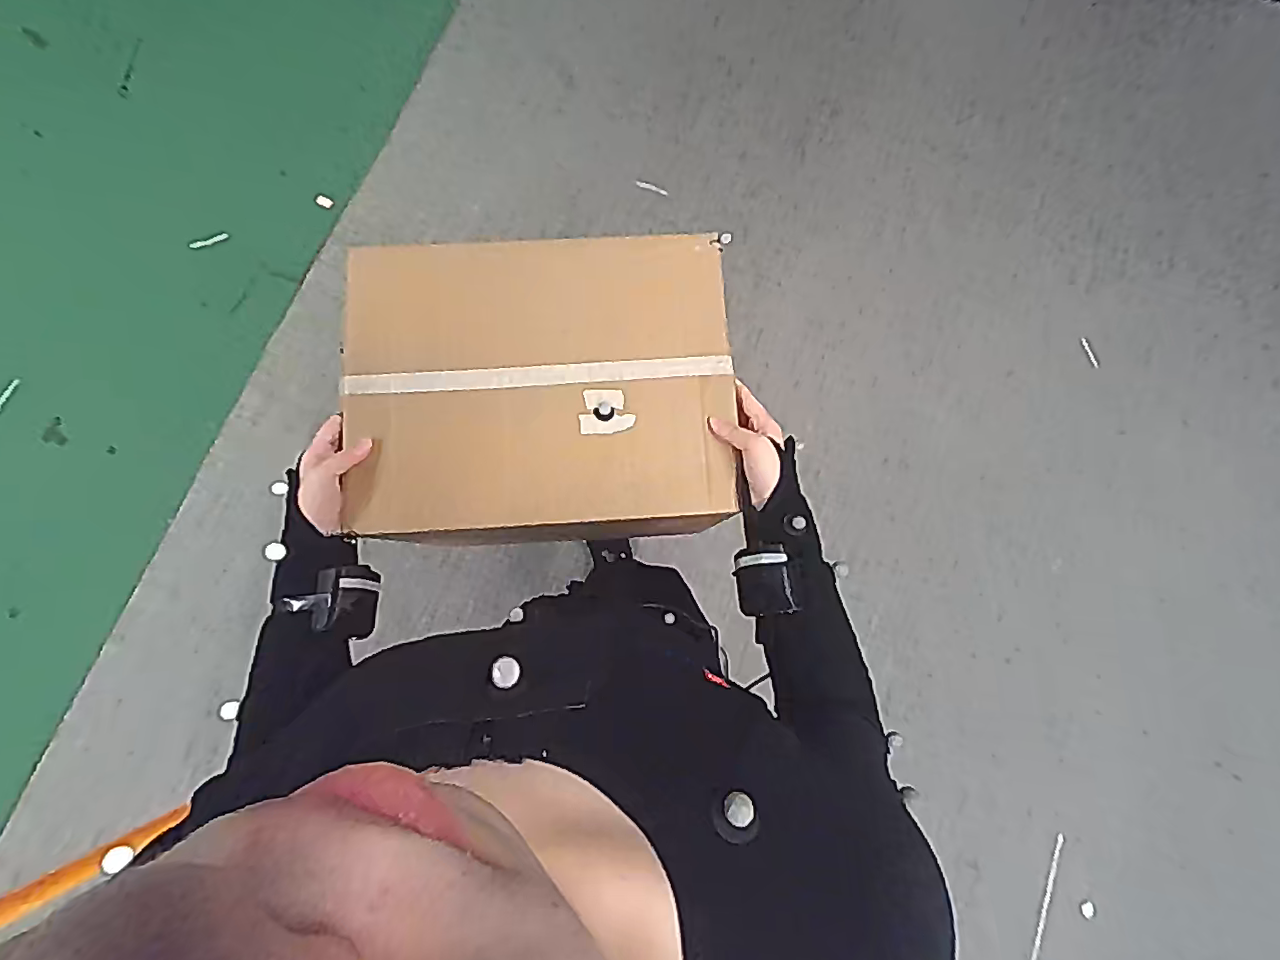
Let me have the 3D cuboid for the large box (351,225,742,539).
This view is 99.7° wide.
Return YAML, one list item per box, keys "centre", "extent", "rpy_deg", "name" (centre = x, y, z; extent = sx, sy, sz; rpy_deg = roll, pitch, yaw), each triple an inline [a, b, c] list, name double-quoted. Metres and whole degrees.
- centre: [-0.111, -0.099, 0.720]
  extent: [0.408, 0.320, 0.320]
  rpy_deg: [-4, 81, -4]
  name: "large box"
